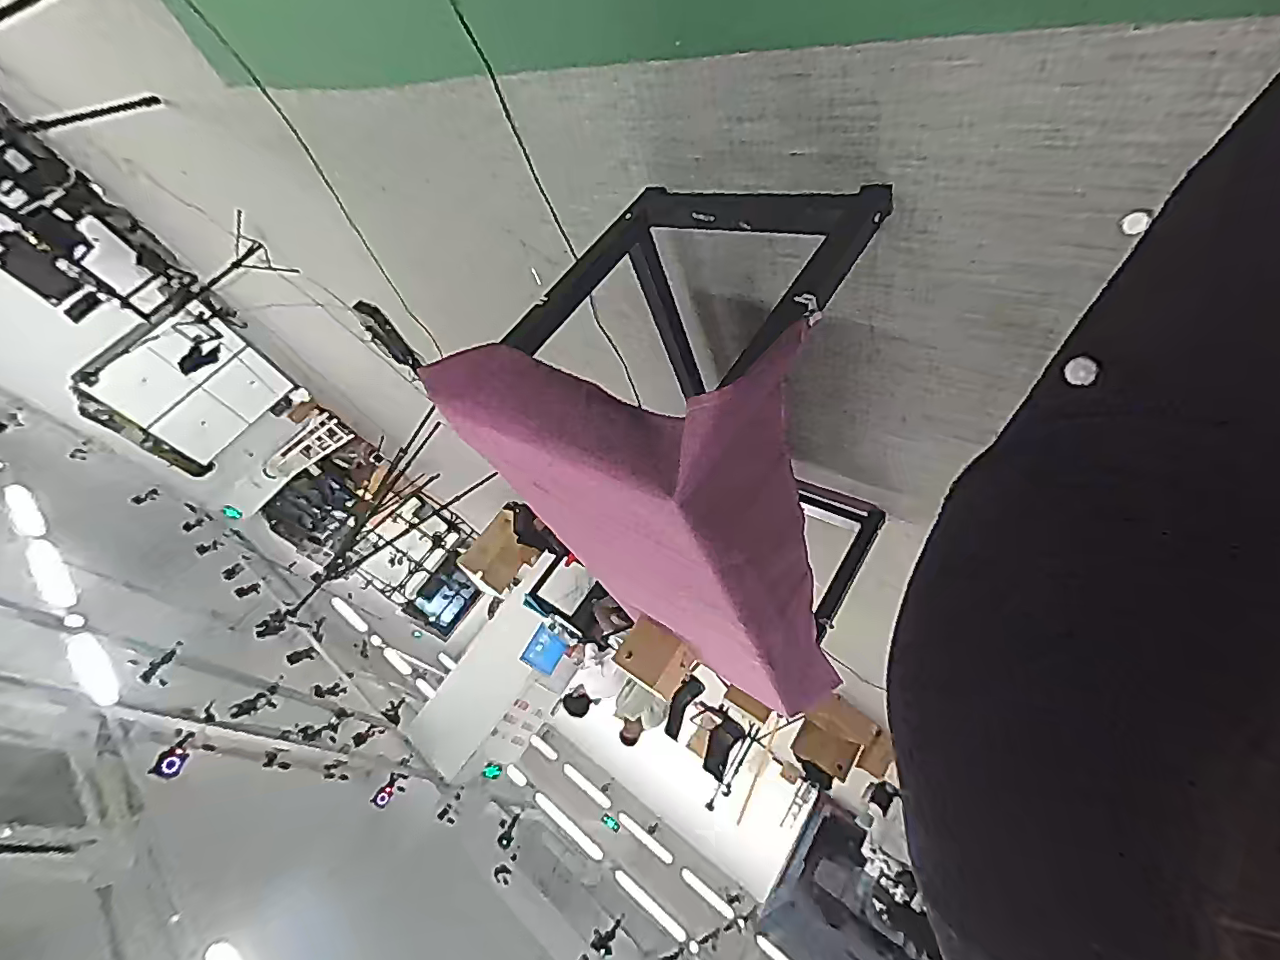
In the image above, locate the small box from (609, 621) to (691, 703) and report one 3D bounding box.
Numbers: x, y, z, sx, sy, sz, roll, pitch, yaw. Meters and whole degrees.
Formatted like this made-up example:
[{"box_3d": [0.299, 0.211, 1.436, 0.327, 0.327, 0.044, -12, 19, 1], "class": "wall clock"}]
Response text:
[{"box_3d": [0.035, 0.573, 1.730, 0.179, 0.176, 0.168, 23, 156, 35], "class": "small box"}]
